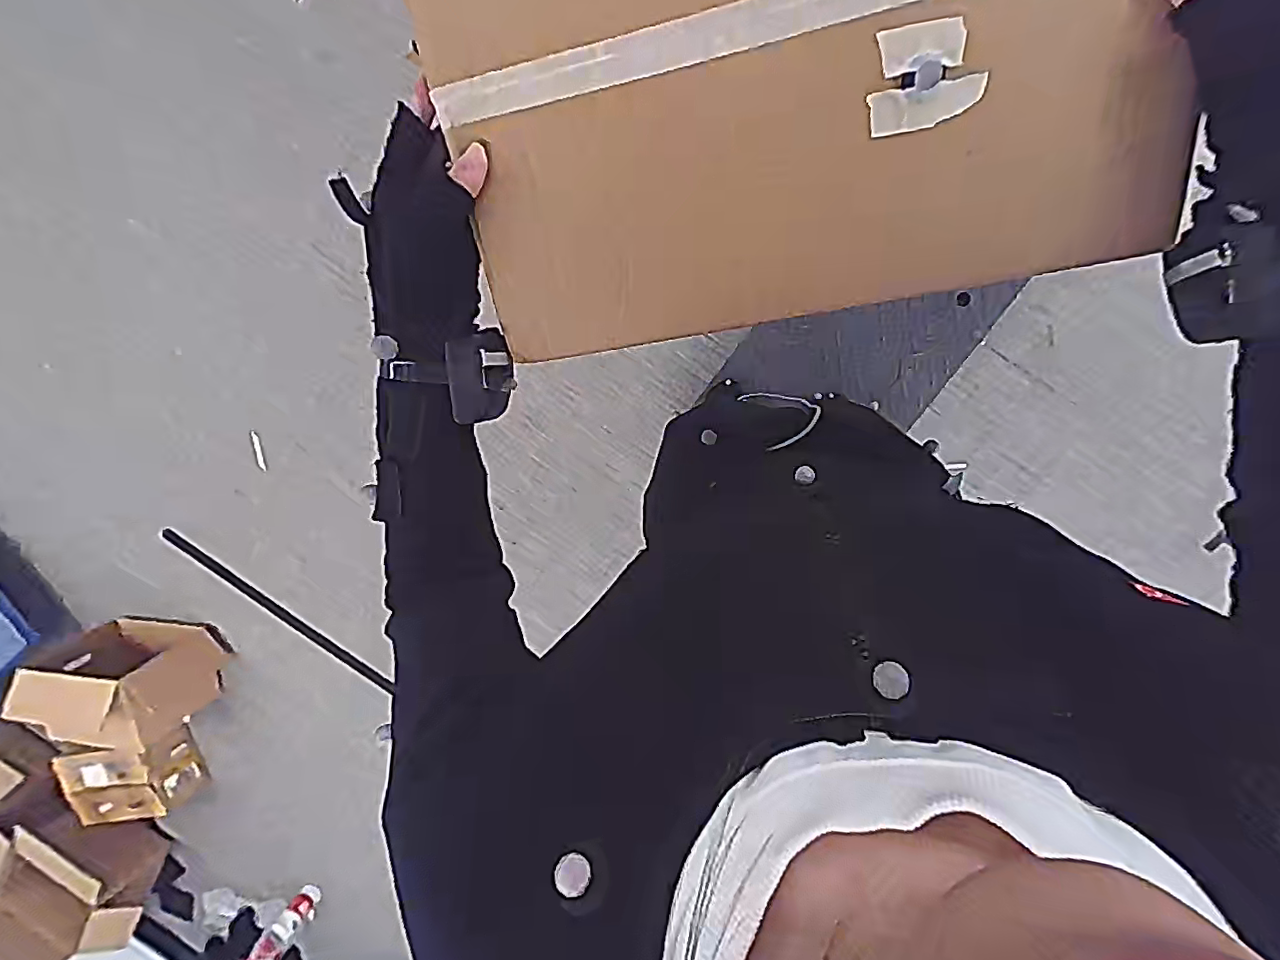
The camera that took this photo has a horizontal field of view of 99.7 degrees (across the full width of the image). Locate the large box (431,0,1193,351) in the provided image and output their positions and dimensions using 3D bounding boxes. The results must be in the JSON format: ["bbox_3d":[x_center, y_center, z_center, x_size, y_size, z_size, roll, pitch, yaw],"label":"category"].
[{"bbox_3d":[0.096,-0.318,0.430,0.408,0.320,0.320,-8,114,10],"label":"large box"}]
